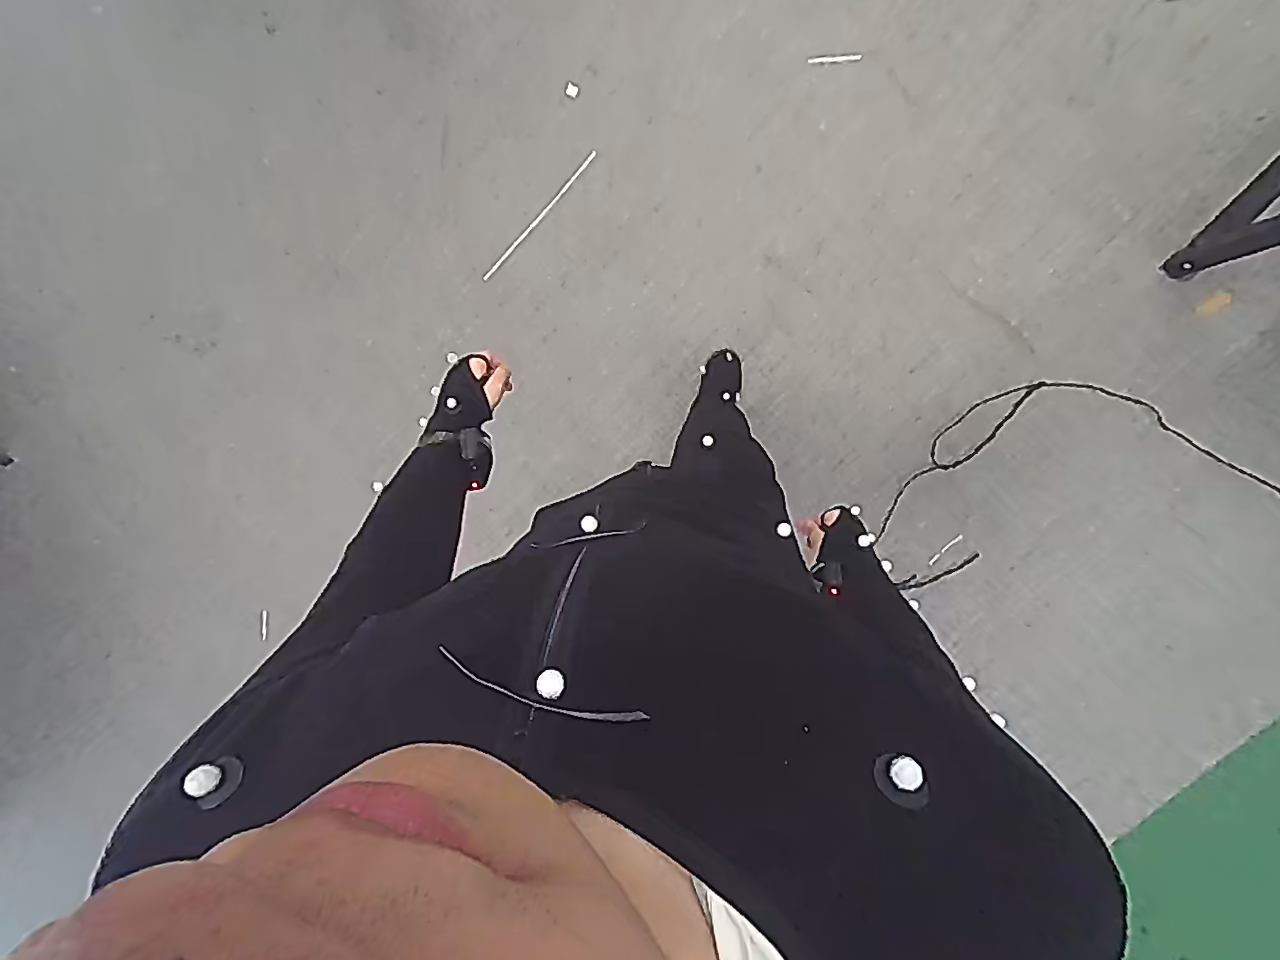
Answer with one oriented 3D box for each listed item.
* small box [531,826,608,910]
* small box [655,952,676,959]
[{"bbox_3d":[-0.211,1.212,1.652,0.179,0.176,0.168,-38,90,5],"label":"small box"},{"bbox_3d":[0.071,1.474,1.489,0.168,0.176,0.179,42,97,0],"label":"small box"}]
